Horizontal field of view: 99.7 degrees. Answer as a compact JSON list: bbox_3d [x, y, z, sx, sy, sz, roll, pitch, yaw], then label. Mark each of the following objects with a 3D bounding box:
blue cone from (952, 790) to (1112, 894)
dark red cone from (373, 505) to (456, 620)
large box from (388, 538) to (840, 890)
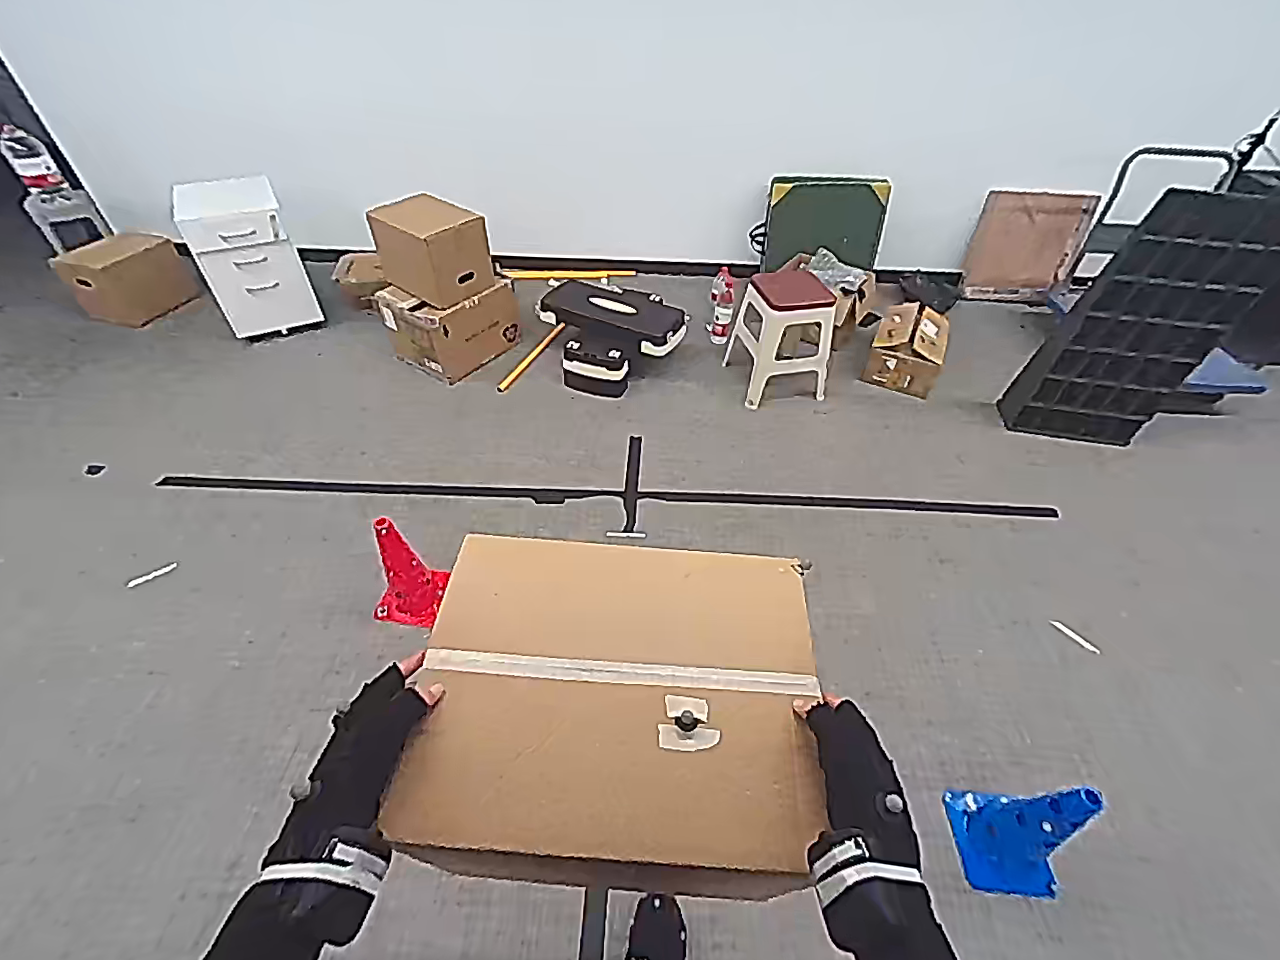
[{"bbox_3d":[0.853,0.734,1.152,0.192,0.380,0.193,6,45,2],"label":"blue cone"},{"bbox_3d":[-0.685,0.220,1.554,0.201,0.394,0.202,8,45,4],"label":"dark red cone"},{"bbox_3d":[-0.024,0.297,0.675,0.408,0.320,0.320,5,49,0],"label":"large box"}]
